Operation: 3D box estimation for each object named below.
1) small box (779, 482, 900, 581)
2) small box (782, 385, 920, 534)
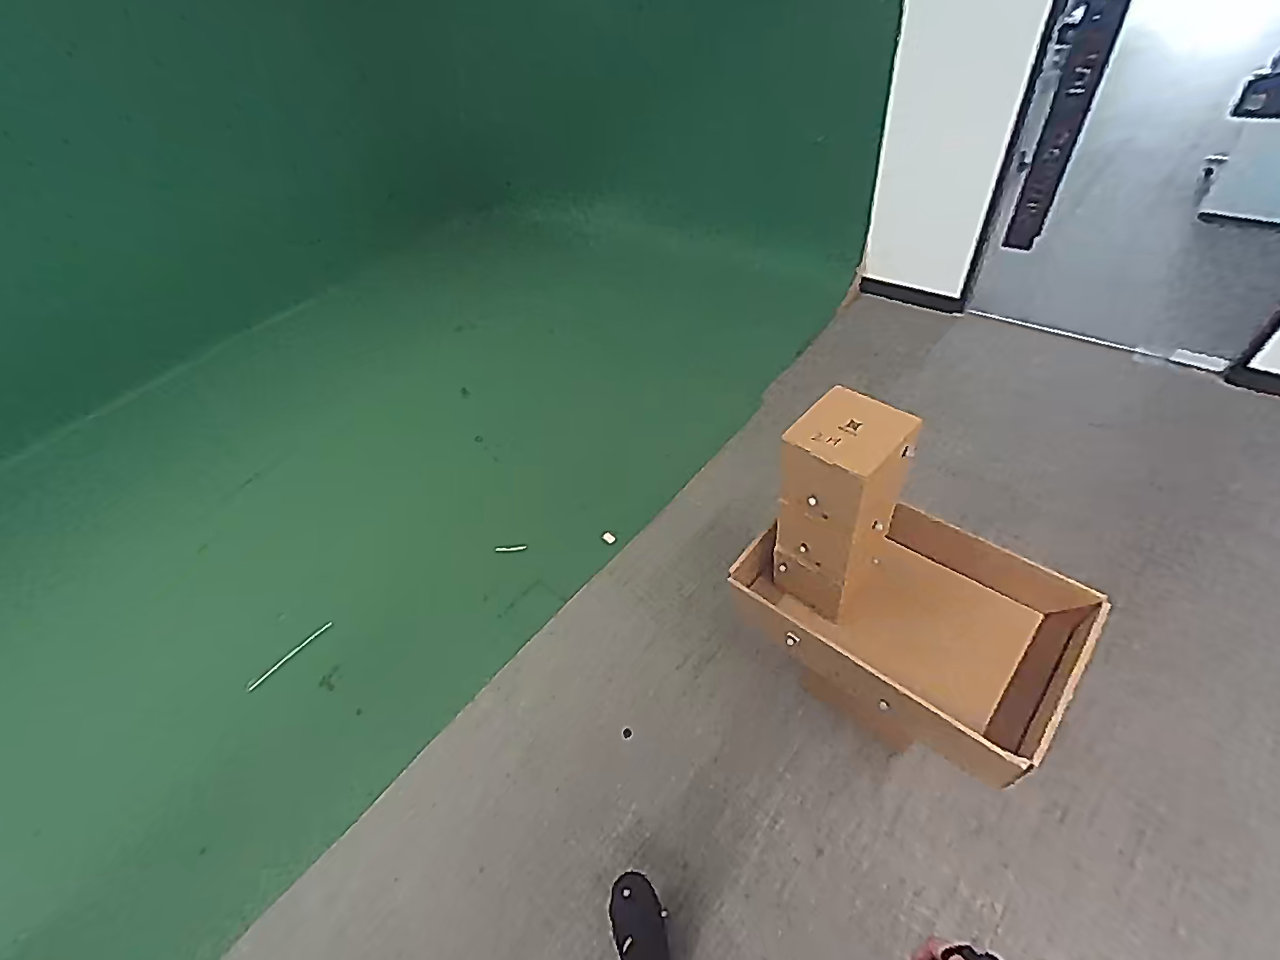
[{"bbox_3d":[0.399,0.071,1.115,0.168,0.176,0.179,33,63,33],"label":"small box"},{"bbox_3d":[0.375,-0.037,0.993,0.179,0.176,0.168,-39,53,-22],"label":"small box"}]
